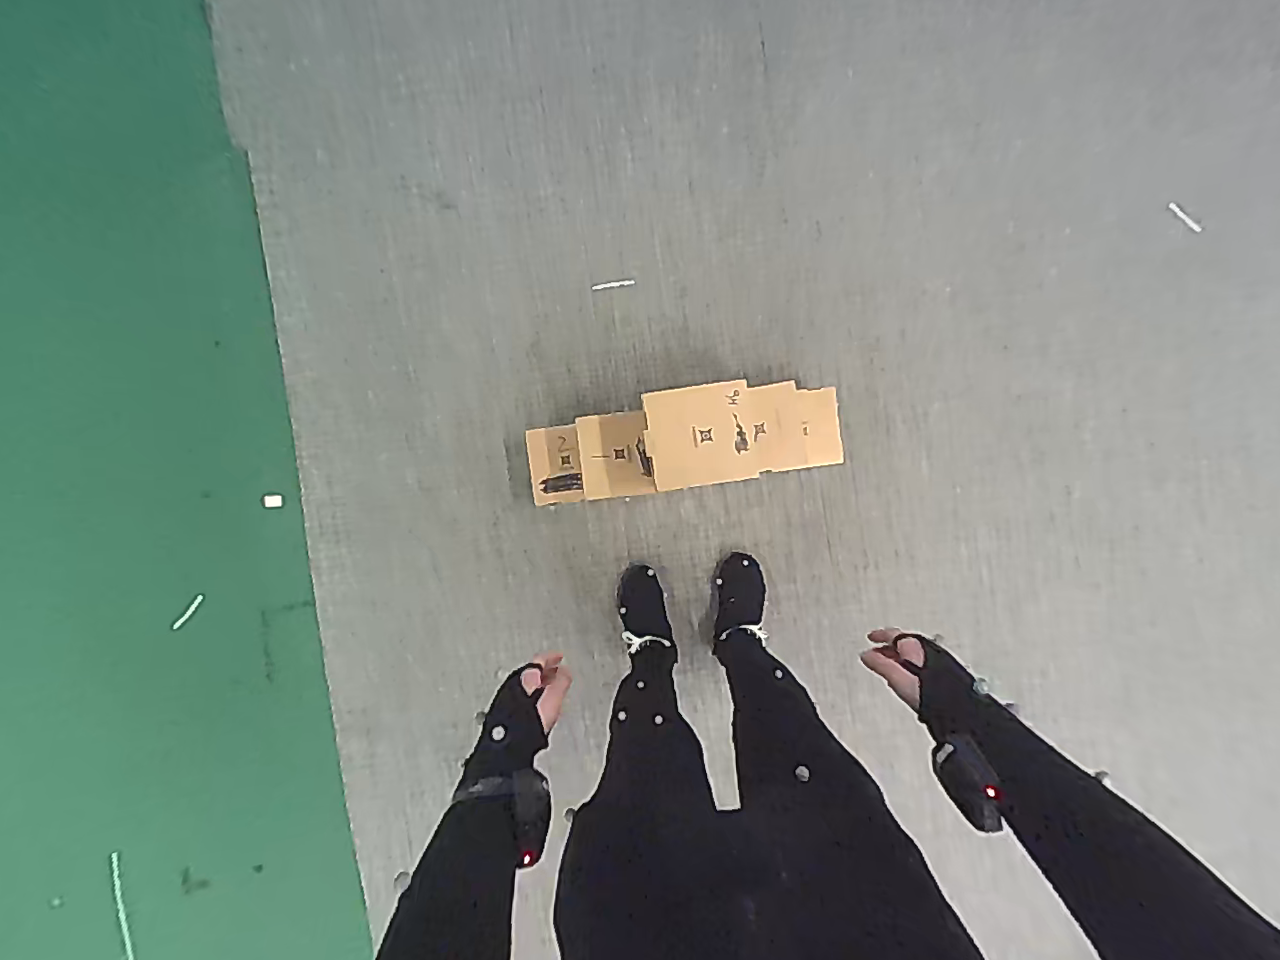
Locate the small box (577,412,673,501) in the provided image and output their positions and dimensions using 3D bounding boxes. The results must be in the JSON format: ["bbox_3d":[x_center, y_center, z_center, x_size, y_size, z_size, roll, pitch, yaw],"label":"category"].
[{"bbox_3d":[-0.028,-0.050,1.132,0.179,0.176,0.168,-6,91,2],"label":"small box"}]

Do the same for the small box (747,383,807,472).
[{"bbox_3d":[0.227,-0.097,1.128,0.179,0.176,0.168,-10,92,0],"label":"small box"}]

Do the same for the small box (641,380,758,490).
[{"bbox_3d":[0.101,-0.074,0.966,0.179,0.176,0.168,-8,92,1],"label":"small box"}]

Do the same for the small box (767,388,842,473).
[{"bbox_3d":[0.365,-0.113,1.289,0.168,0.176,0.179,-8,91,2],"label":"small box"}]
